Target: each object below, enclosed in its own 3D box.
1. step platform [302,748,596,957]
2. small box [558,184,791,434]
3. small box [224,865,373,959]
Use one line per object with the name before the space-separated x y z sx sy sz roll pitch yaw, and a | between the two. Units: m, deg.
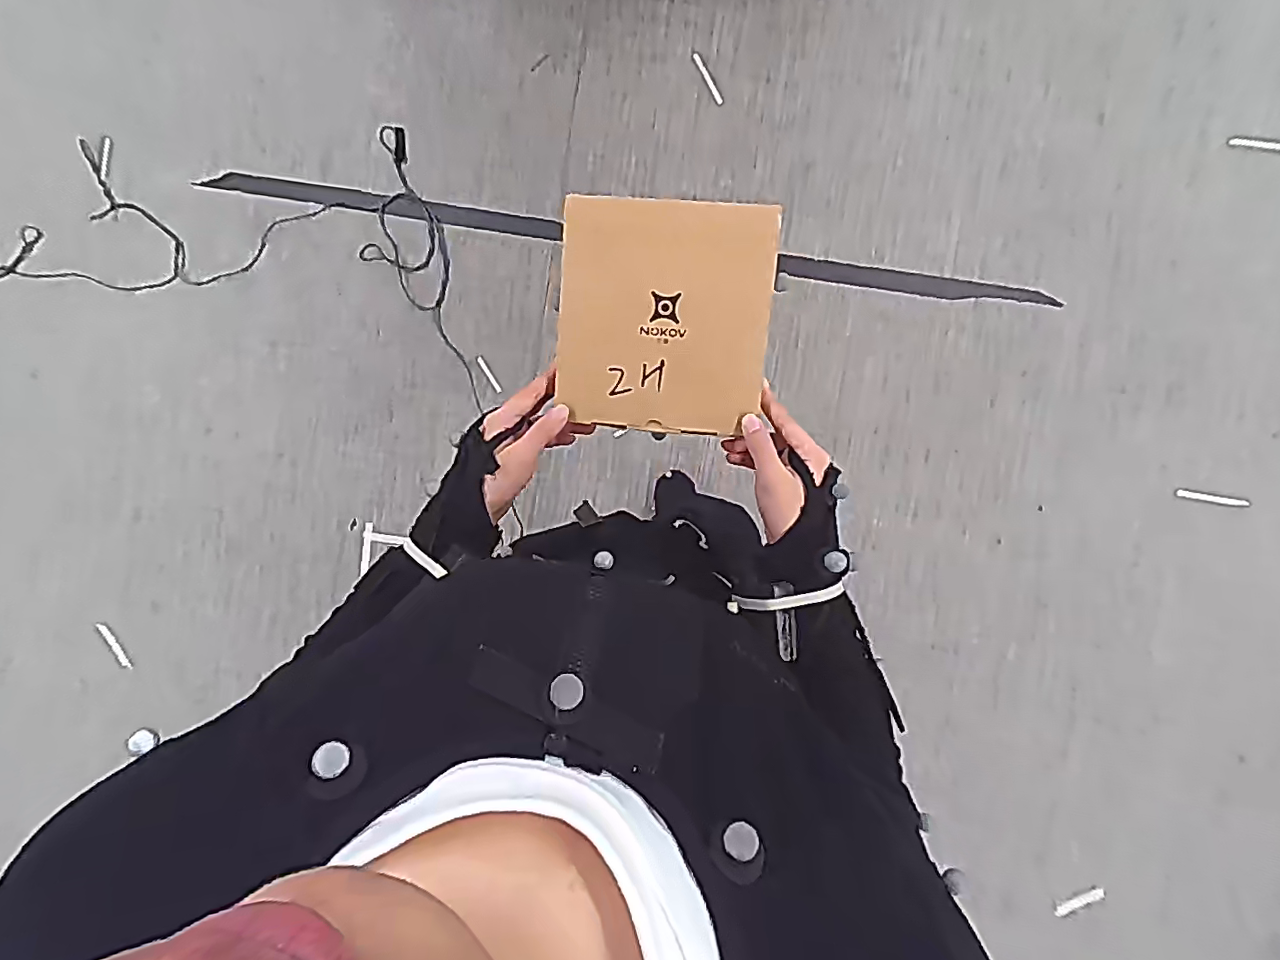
step platform | -0.461 0.906 1.333 0.684 0.204 0.286 10 93 4
small box | 0.030 -0.140 0.493 0.168 0.176 0.179 6 99 5
small box | -0.634 0.869 1.008 0.179 0.176 0.168 13 92 5
